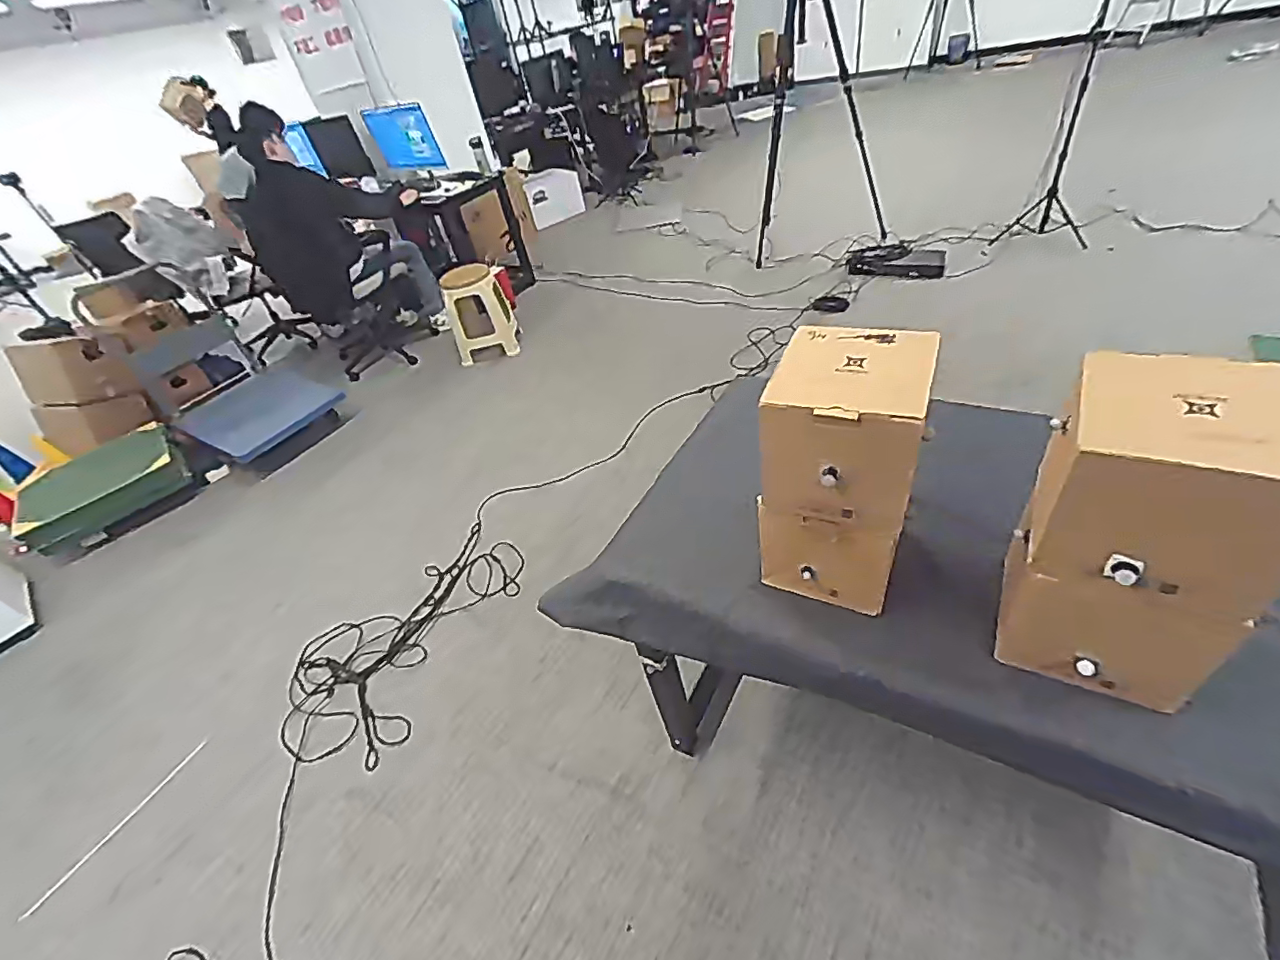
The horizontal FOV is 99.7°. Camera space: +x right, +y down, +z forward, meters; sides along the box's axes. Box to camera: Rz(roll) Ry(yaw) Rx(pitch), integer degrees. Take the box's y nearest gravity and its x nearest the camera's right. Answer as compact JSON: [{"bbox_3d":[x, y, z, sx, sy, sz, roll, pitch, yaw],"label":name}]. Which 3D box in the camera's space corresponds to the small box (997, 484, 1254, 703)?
[{"bbox_3d":[0.525,0.113,0.614,0.168,0.176,0.179,13,48,28],"label":"small box"}]

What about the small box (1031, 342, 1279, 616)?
[{"bbox_3d":[0.492,-0.007,0.510,0.168,0.176,0.179,14,48,30],"label":"small box"}]

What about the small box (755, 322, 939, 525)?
[{"bbox_3d":[0.248,-0.071,0.652,0.168,0.176,0.179,11,48,26],"label":"small box"}]

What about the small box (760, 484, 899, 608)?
[{"bbox_3d":[0.275,0.046,0.764,0.168,0.176,0.179,12,48,27],"label":"small box"}]
